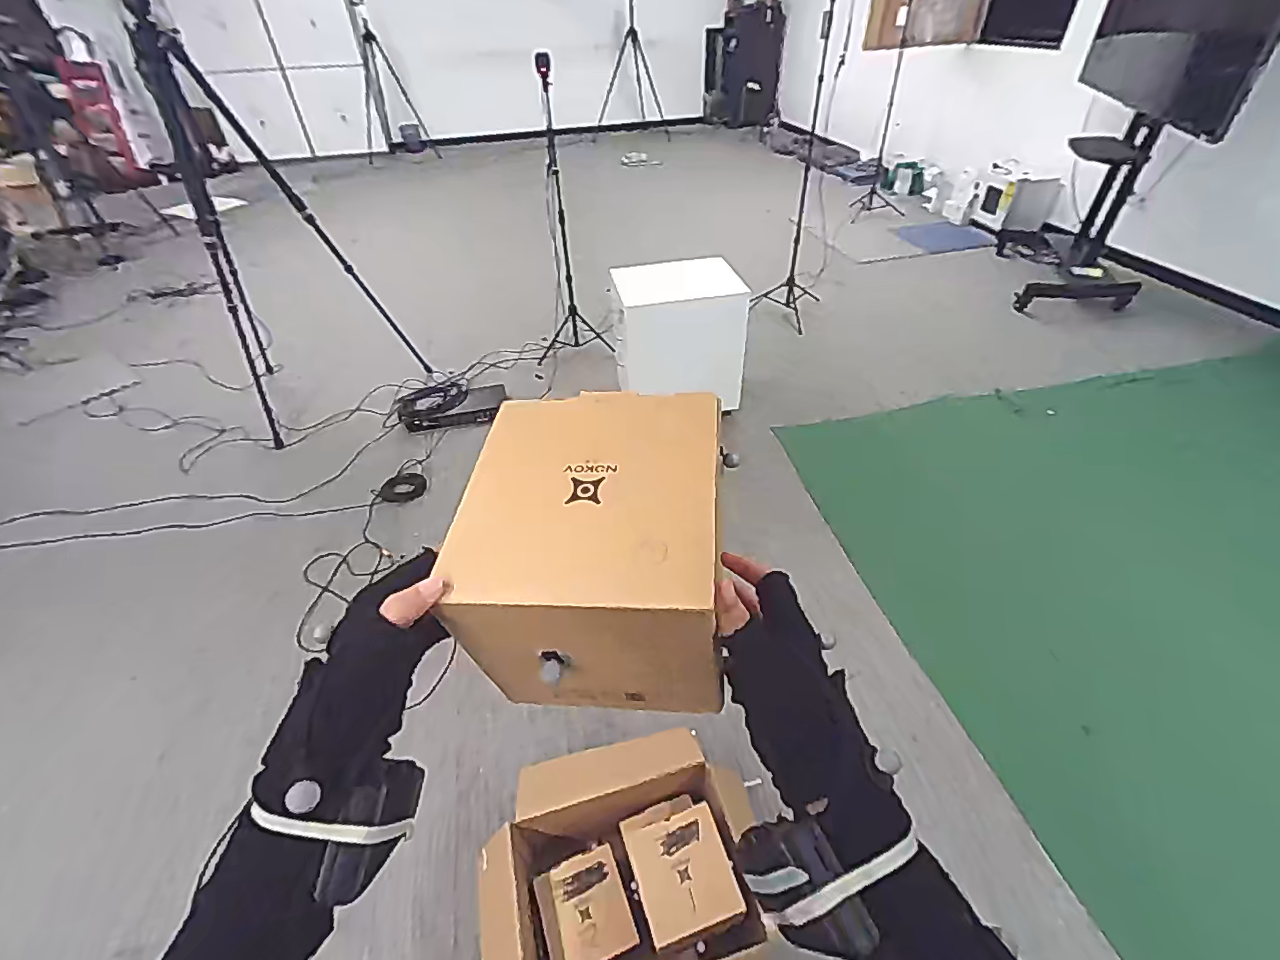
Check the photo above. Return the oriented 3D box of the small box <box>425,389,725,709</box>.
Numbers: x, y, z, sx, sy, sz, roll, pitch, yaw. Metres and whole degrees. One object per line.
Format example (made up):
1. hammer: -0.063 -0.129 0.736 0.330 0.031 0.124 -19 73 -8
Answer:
1. small box: -0.022 0.055 0.403 0.168 0.176 0.179 0 48 10
